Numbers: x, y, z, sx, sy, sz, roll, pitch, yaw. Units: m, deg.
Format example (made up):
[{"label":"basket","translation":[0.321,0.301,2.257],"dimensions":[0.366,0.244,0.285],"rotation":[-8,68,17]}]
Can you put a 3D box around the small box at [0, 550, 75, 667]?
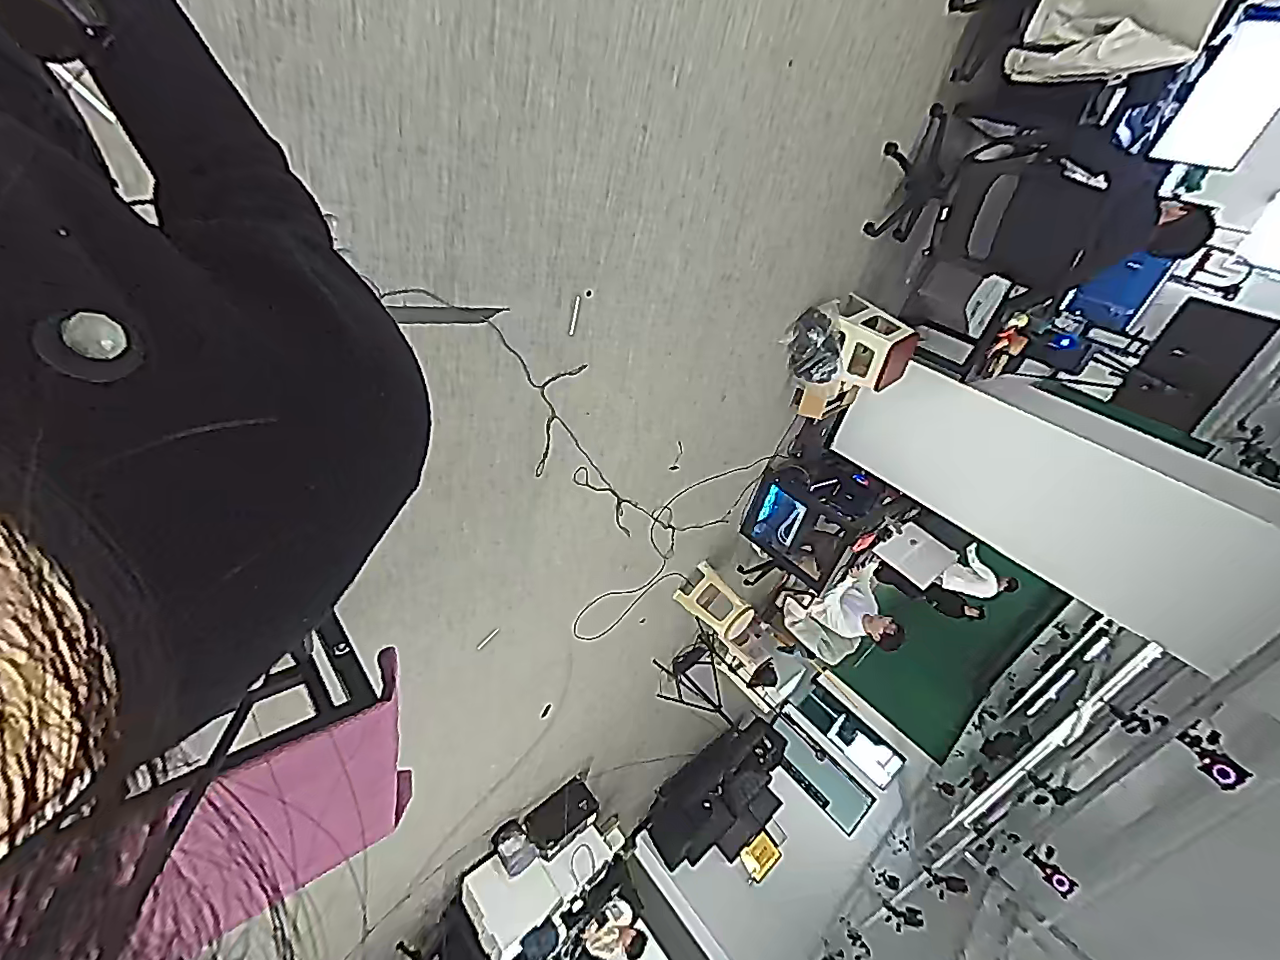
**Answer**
[{"label":"small box","translation":[-1.395,0.286,1.196],"dimensions":[0.168,0.176,0.179],"rotation":[-17,134,-41]}]
